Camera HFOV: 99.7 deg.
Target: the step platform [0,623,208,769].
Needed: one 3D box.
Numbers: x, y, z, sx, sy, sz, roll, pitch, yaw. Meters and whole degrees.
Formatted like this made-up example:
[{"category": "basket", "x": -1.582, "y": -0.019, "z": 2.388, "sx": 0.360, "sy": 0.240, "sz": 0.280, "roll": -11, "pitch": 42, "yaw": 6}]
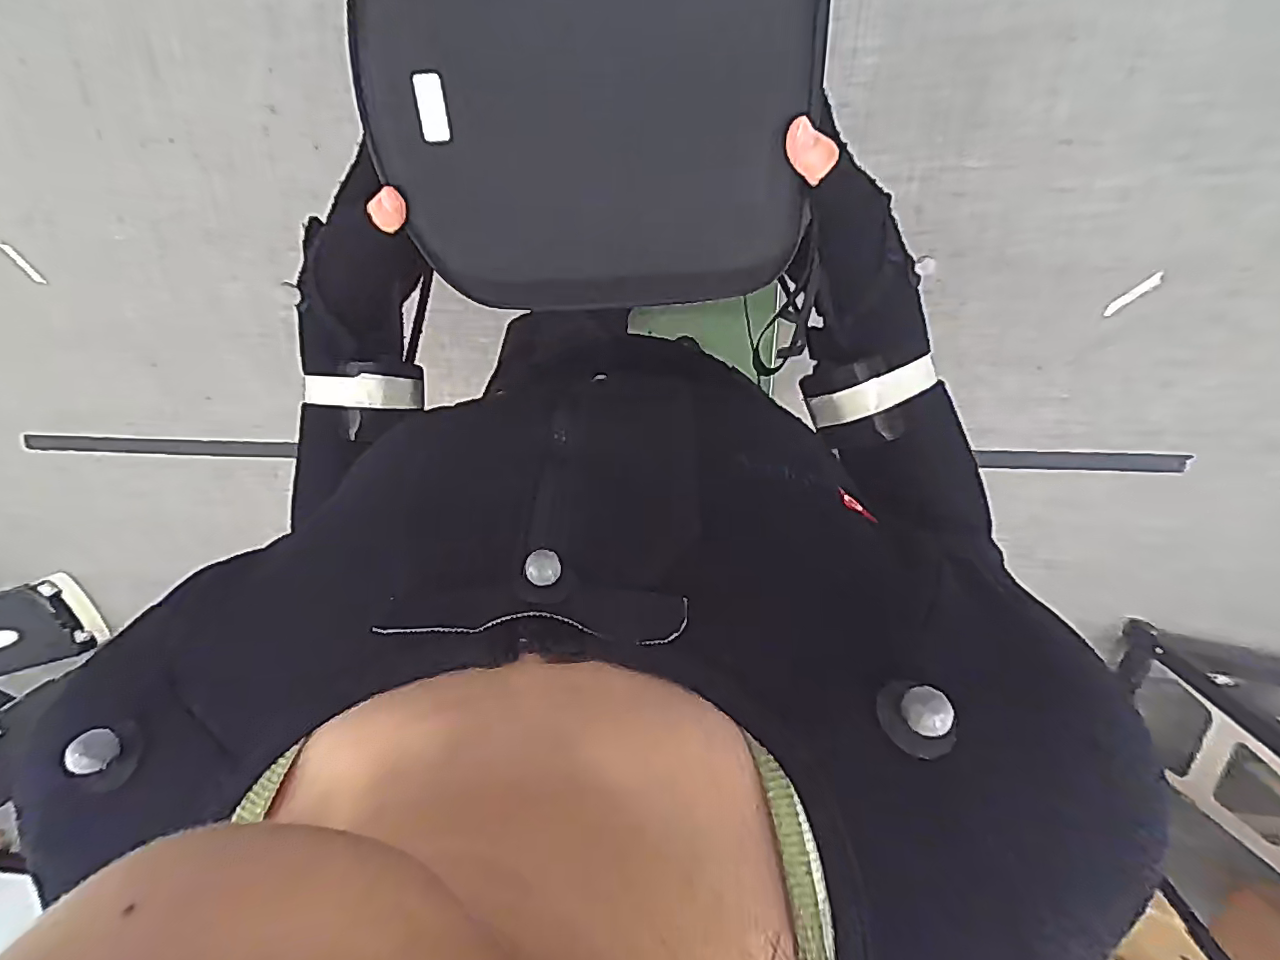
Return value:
[{"category": "step platform", "x": -1.917, "y": 0.775, "z": 1.923, "sx": 0.684, "sy": 0.204, "sz": 0.286, "roll": -27, "pitch": 105, "yaw": 13}]
